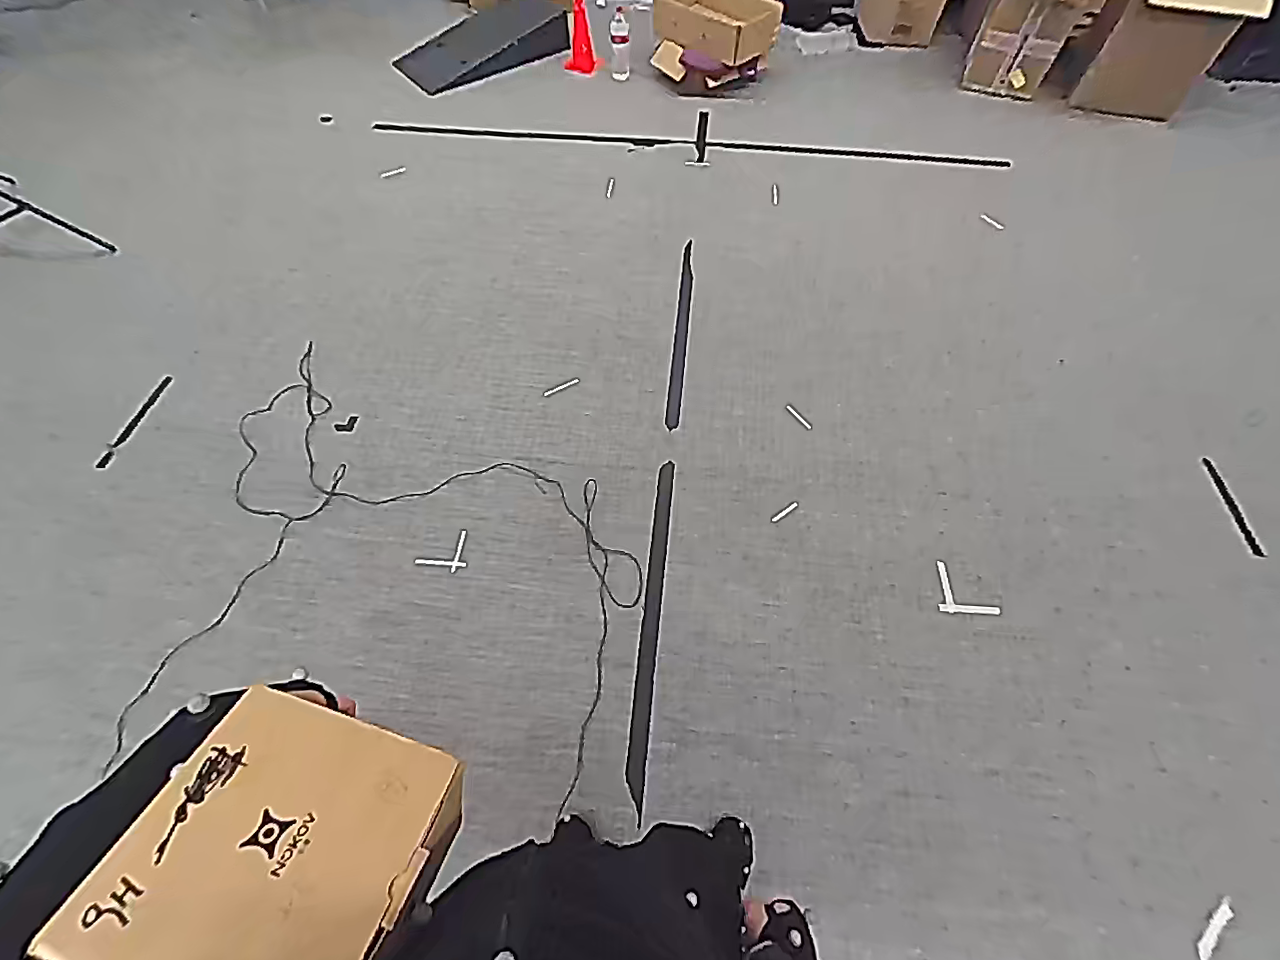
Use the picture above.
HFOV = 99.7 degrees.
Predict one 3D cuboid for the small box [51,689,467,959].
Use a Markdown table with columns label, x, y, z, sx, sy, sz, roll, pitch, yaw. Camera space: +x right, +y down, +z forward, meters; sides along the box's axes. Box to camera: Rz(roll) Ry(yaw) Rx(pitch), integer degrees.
| label | x | y | z | sx | sy | sz | roll | pitch | yaw |
| --- | --- | --- | --- | --- | --- | --- | --- | --- | --- |
| small box | -0.252 | 0.298 | 0.415 | 0.179 | 0.176 | 0.168 | 19 | 42 | 1 |
